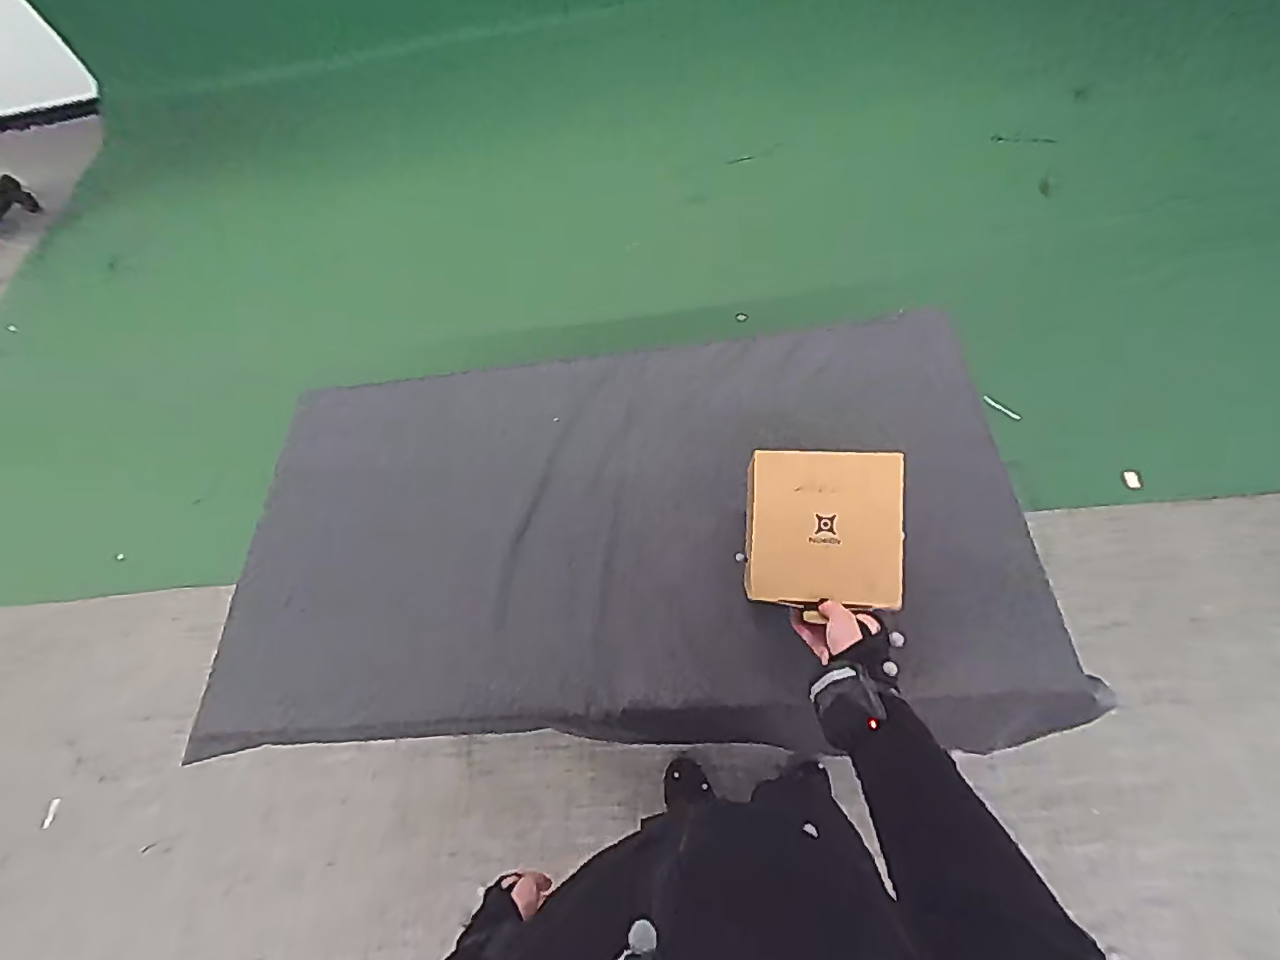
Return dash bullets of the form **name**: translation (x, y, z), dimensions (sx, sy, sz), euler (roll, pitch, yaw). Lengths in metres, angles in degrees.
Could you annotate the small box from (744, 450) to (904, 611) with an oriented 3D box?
- **small box**: translation (0.223, 0.063, 0.689), dimensions (0.168, 0.176, 0.179), euler (2, 83, 8)
